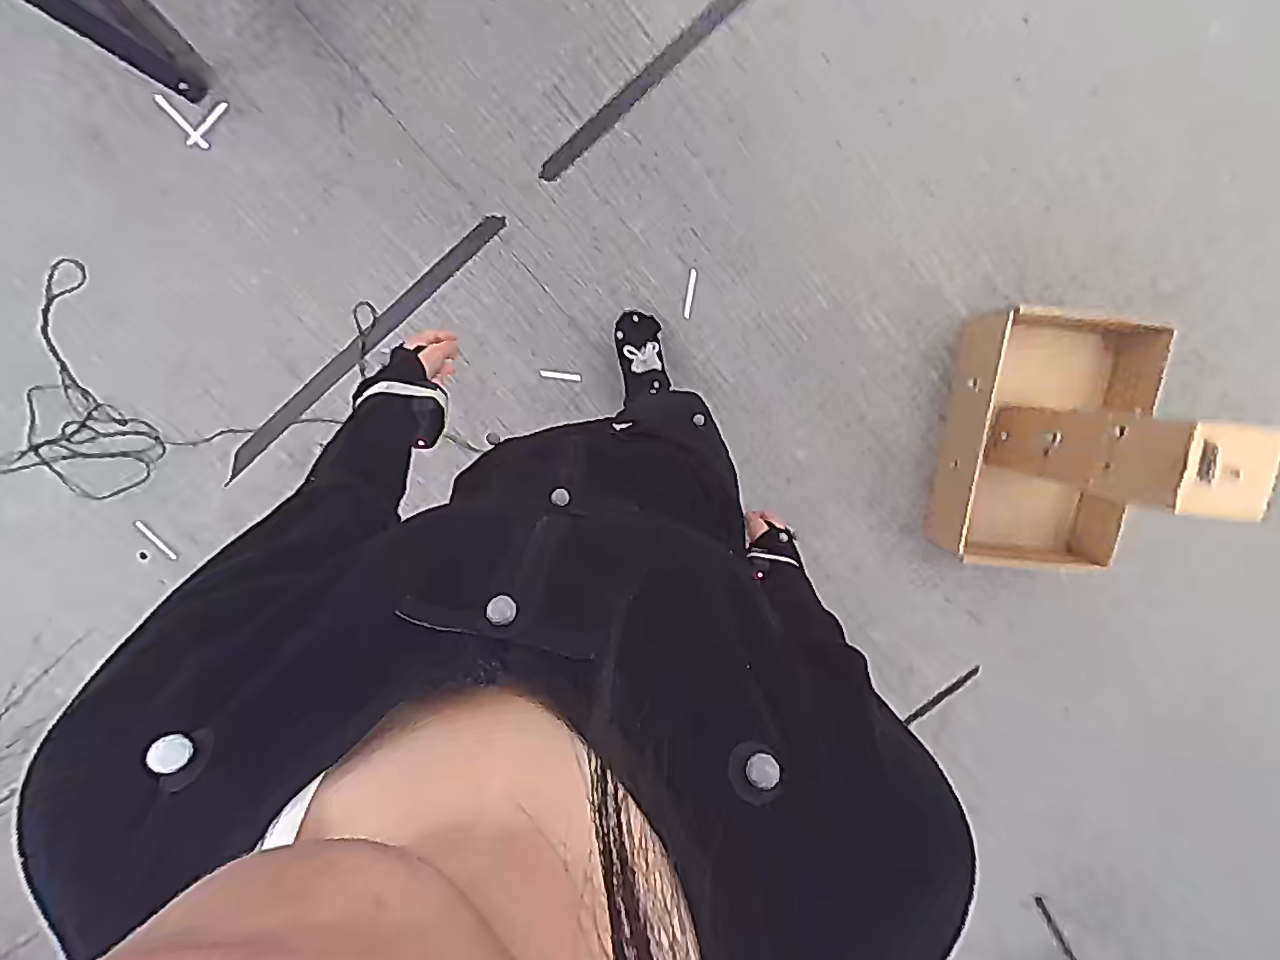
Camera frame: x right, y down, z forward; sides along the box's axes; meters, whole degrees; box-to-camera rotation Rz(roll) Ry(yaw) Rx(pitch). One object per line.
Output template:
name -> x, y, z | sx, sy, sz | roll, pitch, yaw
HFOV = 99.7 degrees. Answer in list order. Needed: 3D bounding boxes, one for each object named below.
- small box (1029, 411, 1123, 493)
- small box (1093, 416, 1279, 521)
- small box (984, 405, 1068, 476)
small box -> 1.020, -0.060, 1.196 | 0.179, 0.176, 0.168 | 7, 100, -2
small box -> 1.029, -0.029, 1.034 | 0.179, 0.176, 0.168 | 6, 101, -4
small box -> 1.015, -0.093, 1.354 | 0.179, 0.176, 0.168 | 8, 100, -3
